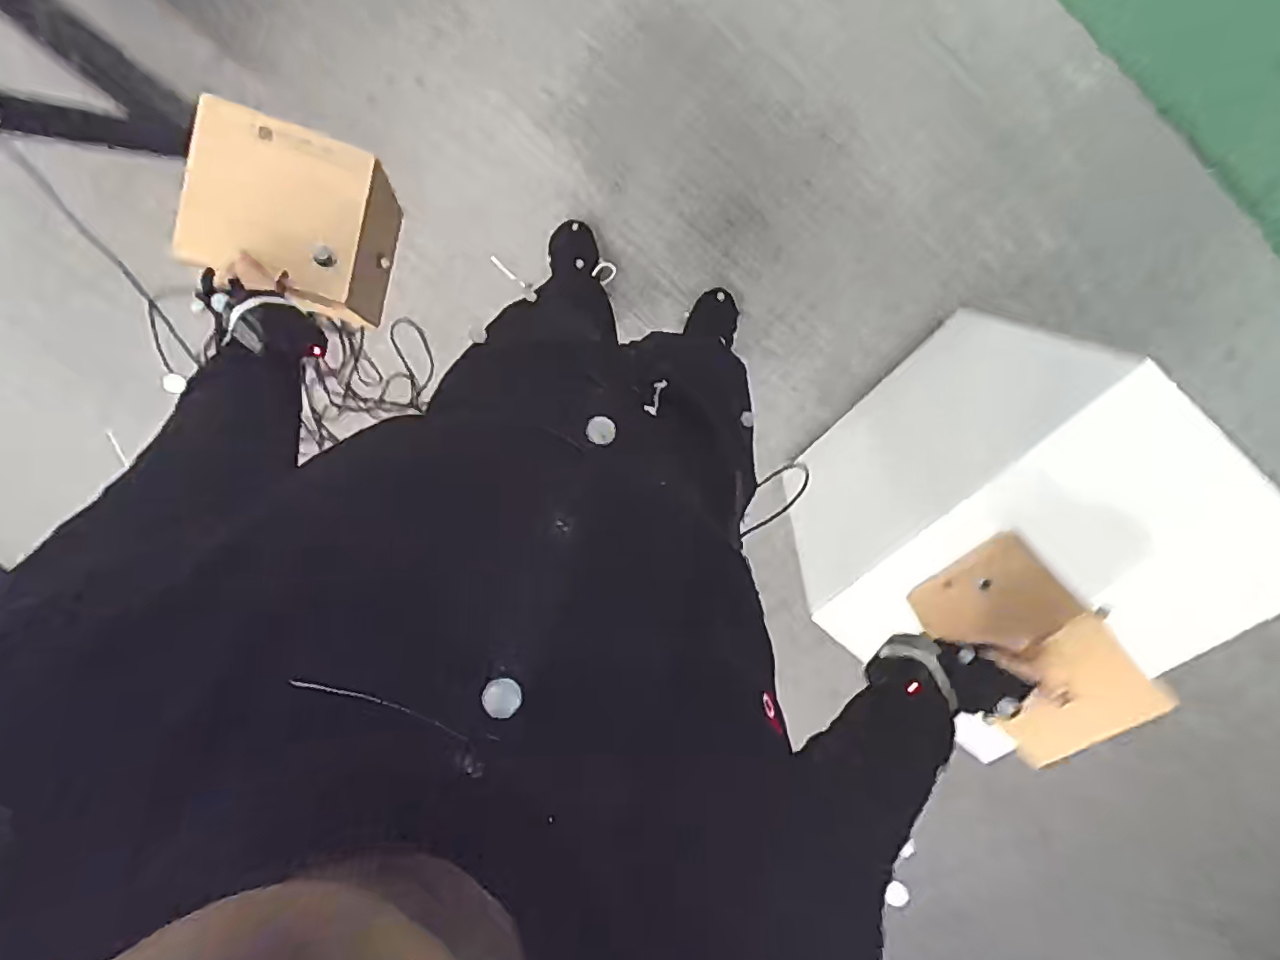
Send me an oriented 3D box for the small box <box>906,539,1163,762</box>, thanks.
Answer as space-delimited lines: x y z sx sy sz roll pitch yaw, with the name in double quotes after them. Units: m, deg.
0.480 0.208 0.687 0.179 0.176 0.168 42 113 -12 "small box"
